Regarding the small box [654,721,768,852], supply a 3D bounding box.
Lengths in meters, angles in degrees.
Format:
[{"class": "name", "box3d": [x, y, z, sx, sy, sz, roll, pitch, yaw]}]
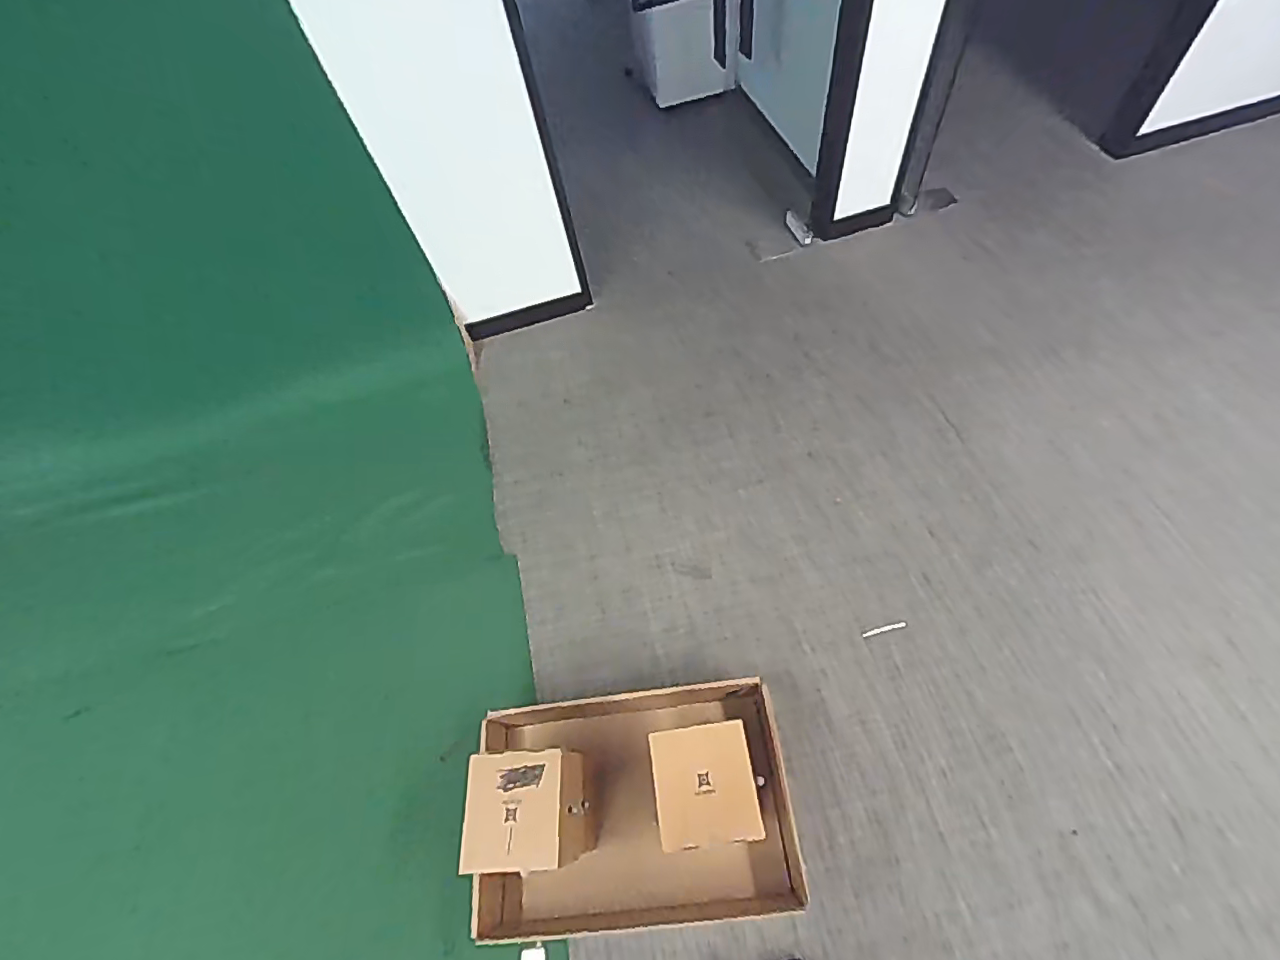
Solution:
[{"class": "small box", "box3d": [0.120, 0.538, 0.954, 0.168, 0.176, 0.179, -10, 59, 4]}]

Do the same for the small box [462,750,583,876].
[{"class": "small box", "box3d": [-0.200, 0.593, 0.970, 0.168, 0.176, 0.179, -5, 60, 4]}]
